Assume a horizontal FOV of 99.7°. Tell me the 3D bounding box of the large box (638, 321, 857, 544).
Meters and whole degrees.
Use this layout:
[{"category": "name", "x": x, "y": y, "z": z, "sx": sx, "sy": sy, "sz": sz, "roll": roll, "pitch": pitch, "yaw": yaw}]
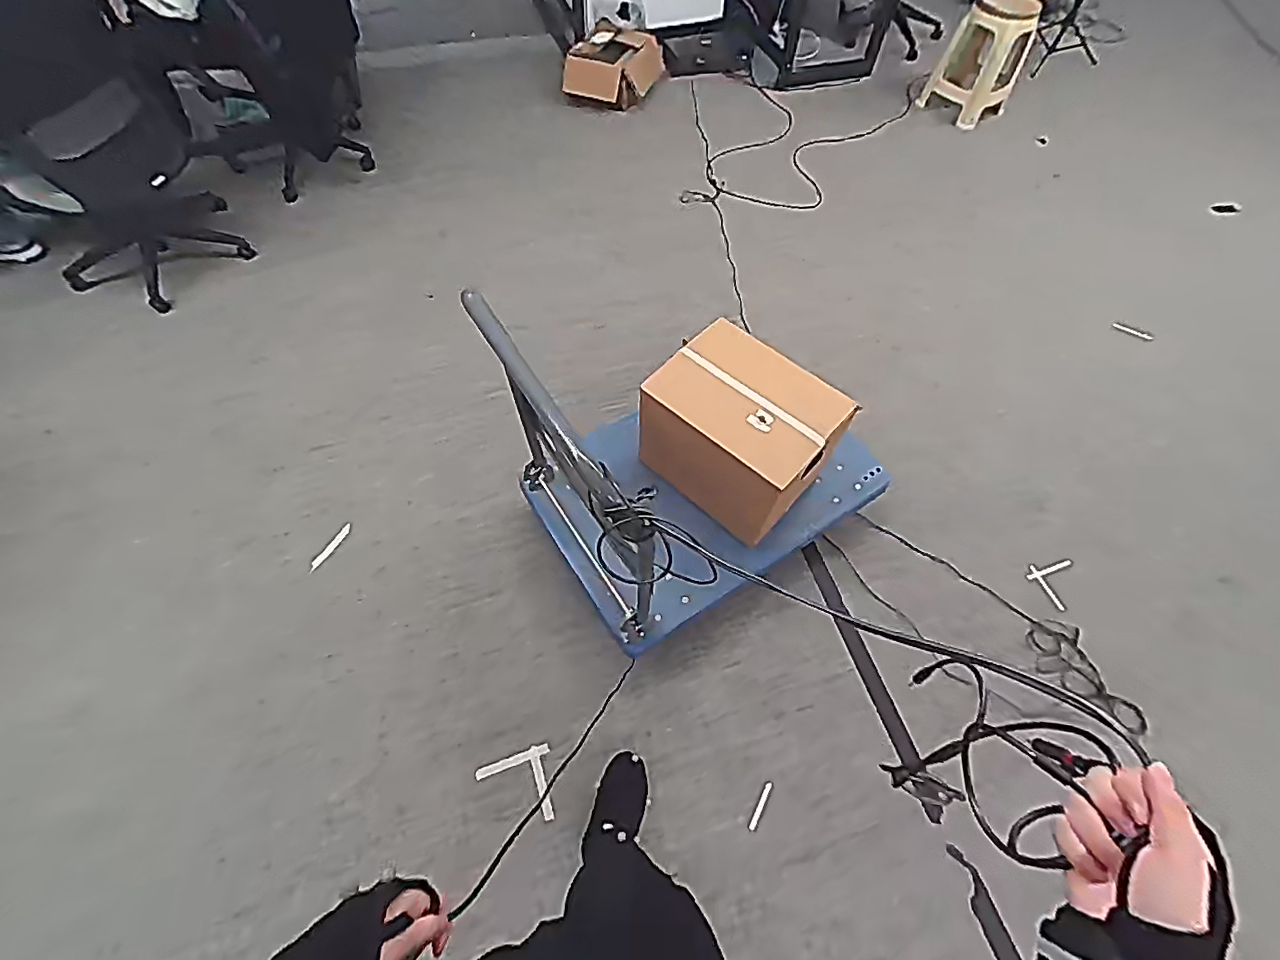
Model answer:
[{"category": "large box", "x": 0.244, "y": -0.116, "z": 1.363, "sx": 0.408, "sy": 0.320, "sz": 0.320, "roll": 39, "pitch": 67, "yaw": 18}]
